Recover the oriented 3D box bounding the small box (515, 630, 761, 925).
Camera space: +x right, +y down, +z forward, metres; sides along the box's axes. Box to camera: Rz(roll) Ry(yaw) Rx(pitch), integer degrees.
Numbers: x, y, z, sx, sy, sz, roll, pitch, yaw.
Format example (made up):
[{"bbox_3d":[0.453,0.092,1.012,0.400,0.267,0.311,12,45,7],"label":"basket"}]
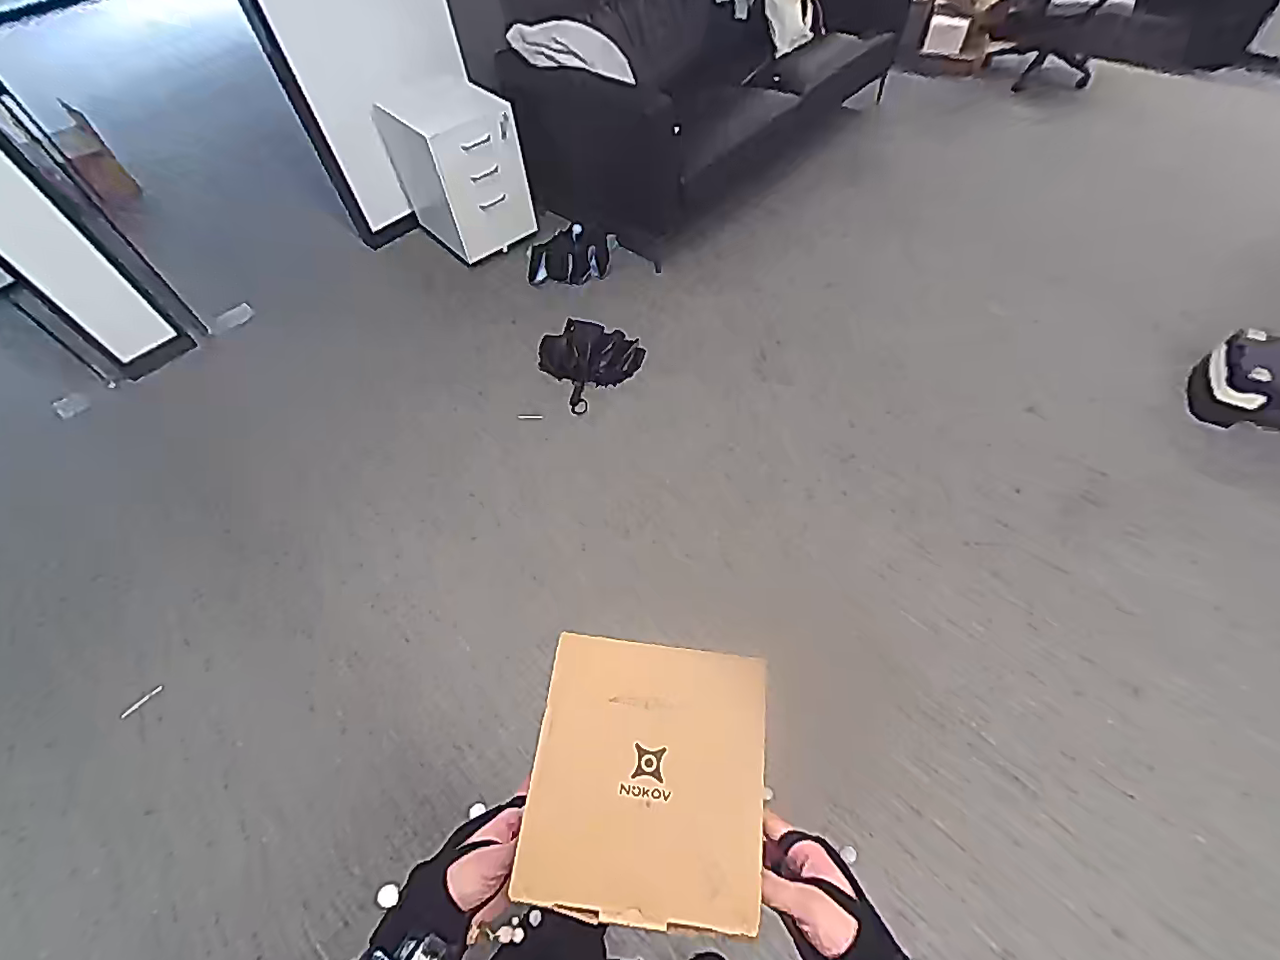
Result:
[{"bbox_3d":[0.005,0.246,0.466,0.168,0.176,0.179,7,60,1],"label":"small box"}]
